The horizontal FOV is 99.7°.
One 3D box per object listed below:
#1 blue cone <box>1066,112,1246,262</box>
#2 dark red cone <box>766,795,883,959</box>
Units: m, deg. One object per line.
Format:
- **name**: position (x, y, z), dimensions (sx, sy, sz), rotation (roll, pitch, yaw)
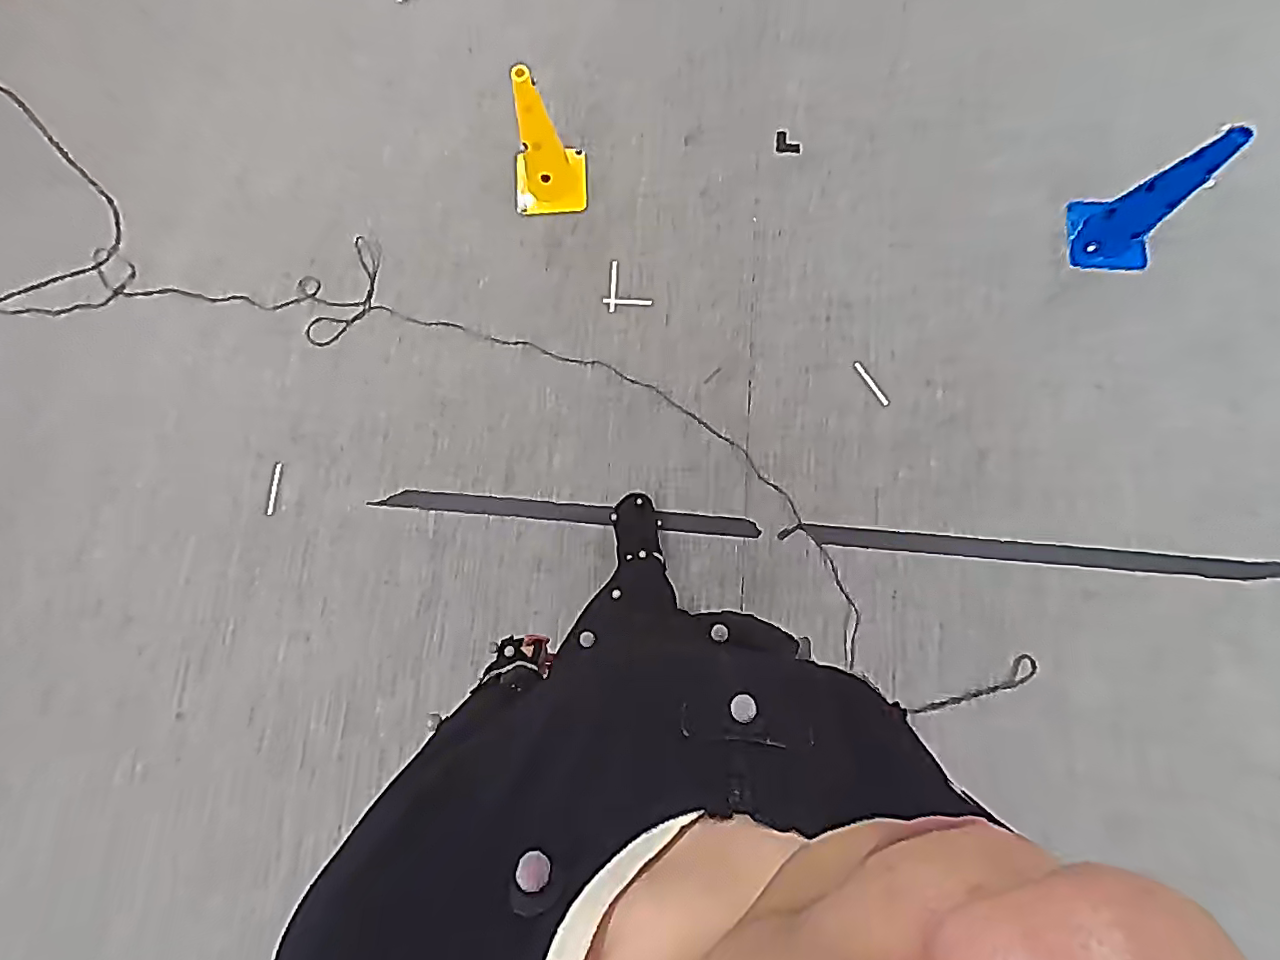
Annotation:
- **blue cone**: position (1.259, -0.713, 1.311), dimensions (0.193, 0.380, 0.192), rotation (5, 80, 3)
- **dark red cone**: position (0.386, 0.797, 1.067), dimensions (0.202, 0.394, 0.201), rotation (-4, 79, 2)
